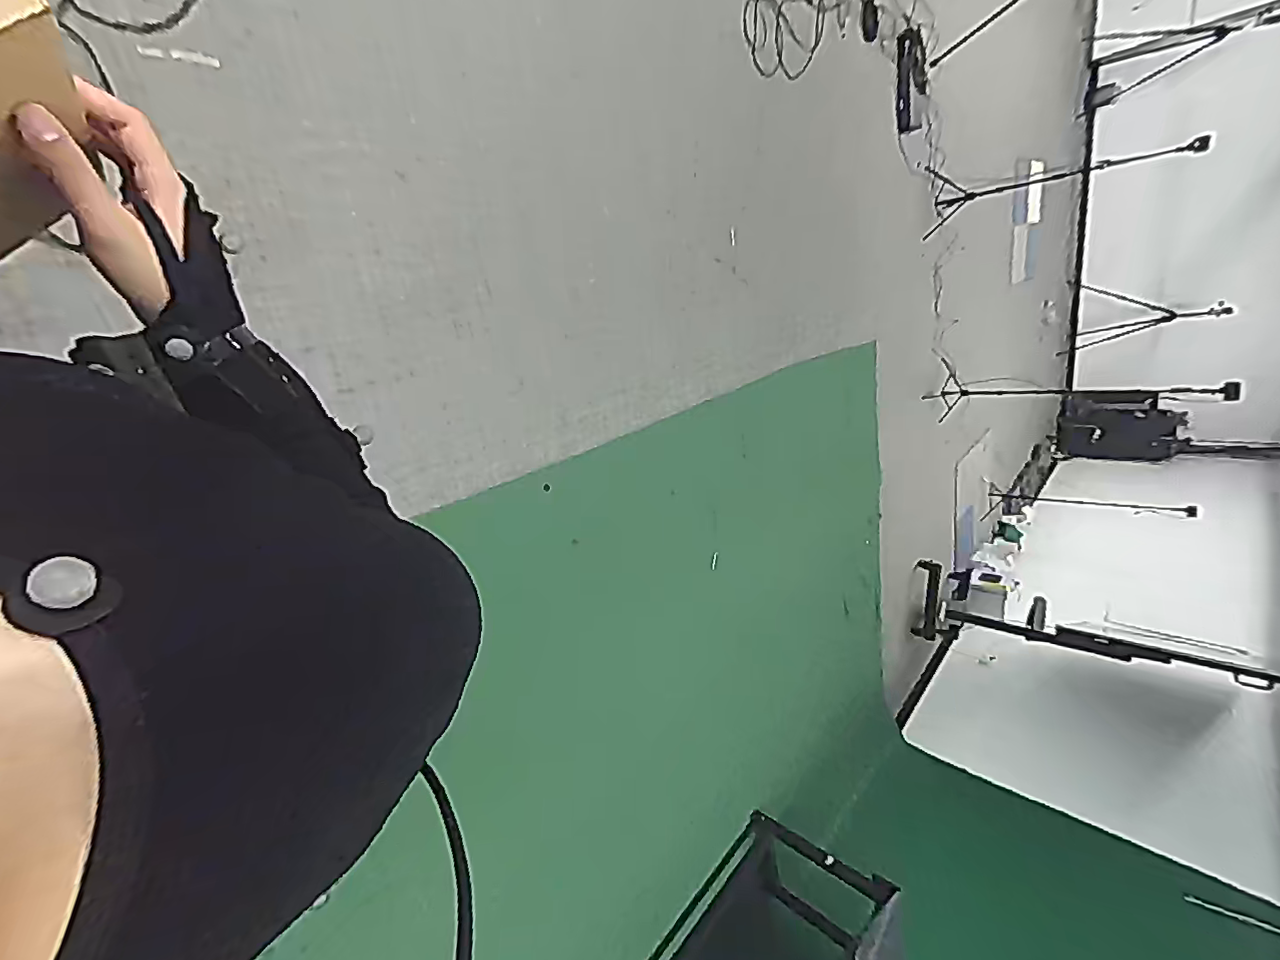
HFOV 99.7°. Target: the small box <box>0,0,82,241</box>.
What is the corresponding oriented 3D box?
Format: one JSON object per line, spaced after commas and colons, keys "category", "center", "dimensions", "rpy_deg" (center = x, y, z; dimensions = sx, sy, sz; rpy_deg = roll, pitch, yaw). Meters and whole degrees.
{"category": "small box", "center": [-0.390, -0.181, 0.217], "dimensions": [0.168, 0.176, 0.179], "rpy_deg": [44, 64, -29]}
